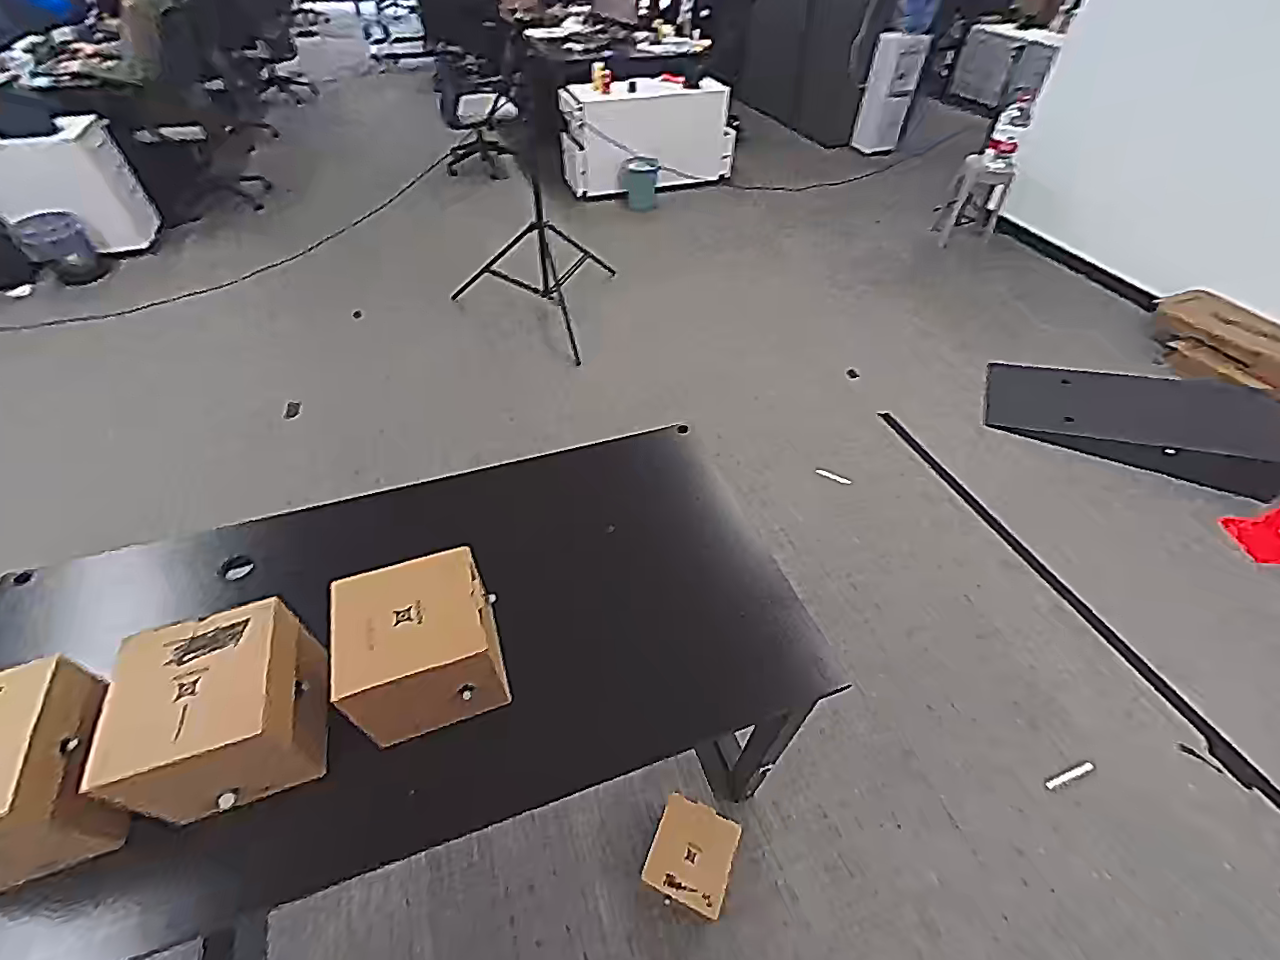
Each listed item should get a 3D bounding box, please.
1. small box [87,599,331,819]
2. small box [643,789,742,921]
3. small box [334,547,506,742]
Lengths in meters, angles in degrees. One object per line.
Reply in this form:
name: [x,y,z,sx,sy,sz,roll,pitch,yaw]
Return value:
small box: [-0.502,0.281,0.666,0.168,0.176,0.179,-14,50,-14]
small box: [0.108,0.818,1.178,0.168,0.176,0.179,19,50,15]
small box: [-0.286,0.221,0.729,0.179,0.176,0.168,-15,49,-14]
